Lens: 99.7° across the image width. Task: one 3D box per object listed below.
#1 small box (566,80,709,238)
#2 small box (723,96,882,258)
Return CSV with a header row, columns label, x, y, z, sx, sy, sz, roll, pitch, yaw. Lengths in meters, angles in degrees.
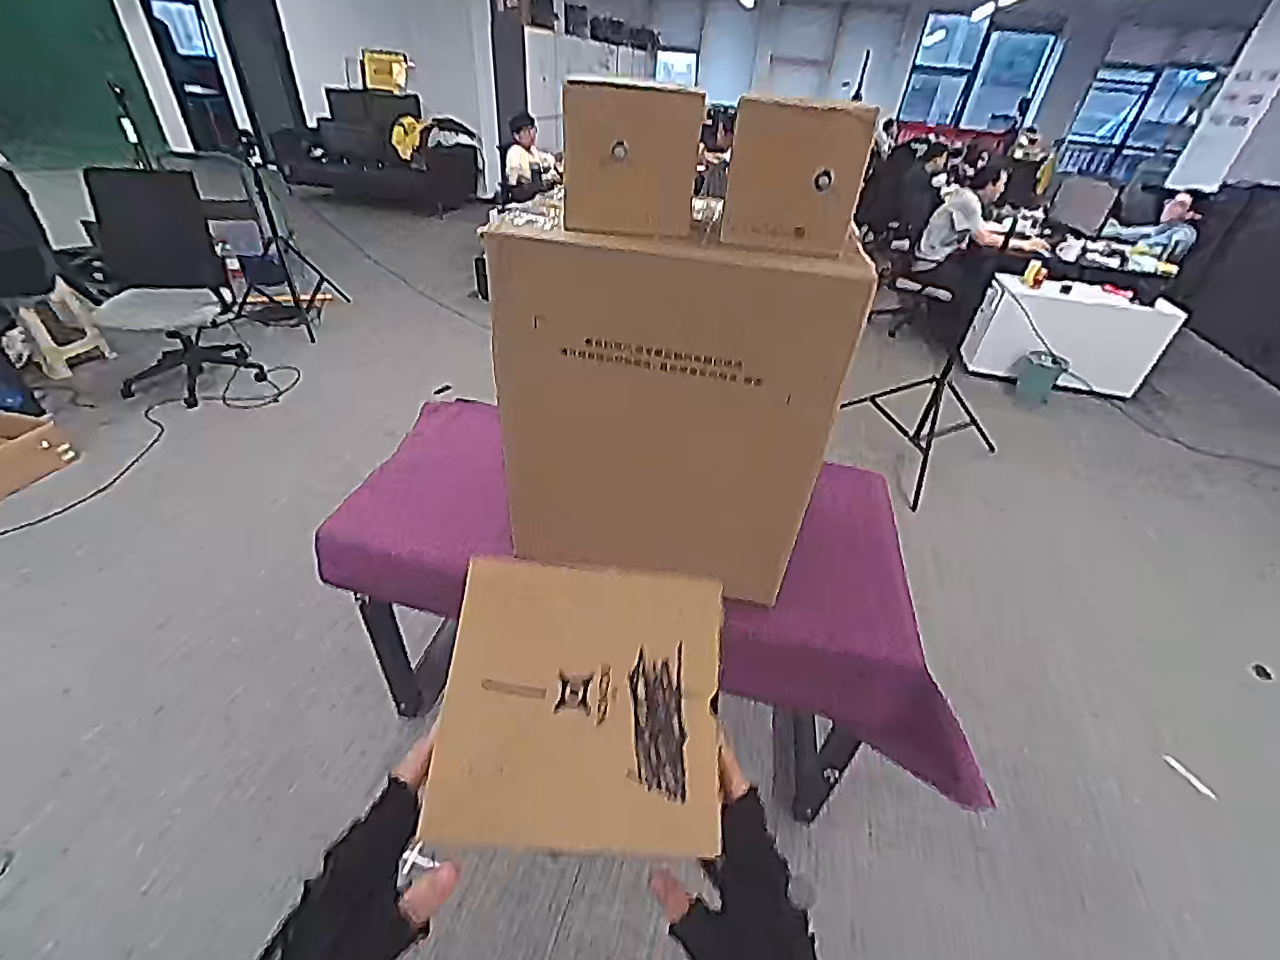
label,x,y,z,sx,sy,sz,roll,pitch,yaw
small box,-0.010,-0.449,0.759,0.179,0.176,0.168,2,38,-5
small box,0.211,-0.416,0.743,0.168,0.176,0.179,10,37,6
